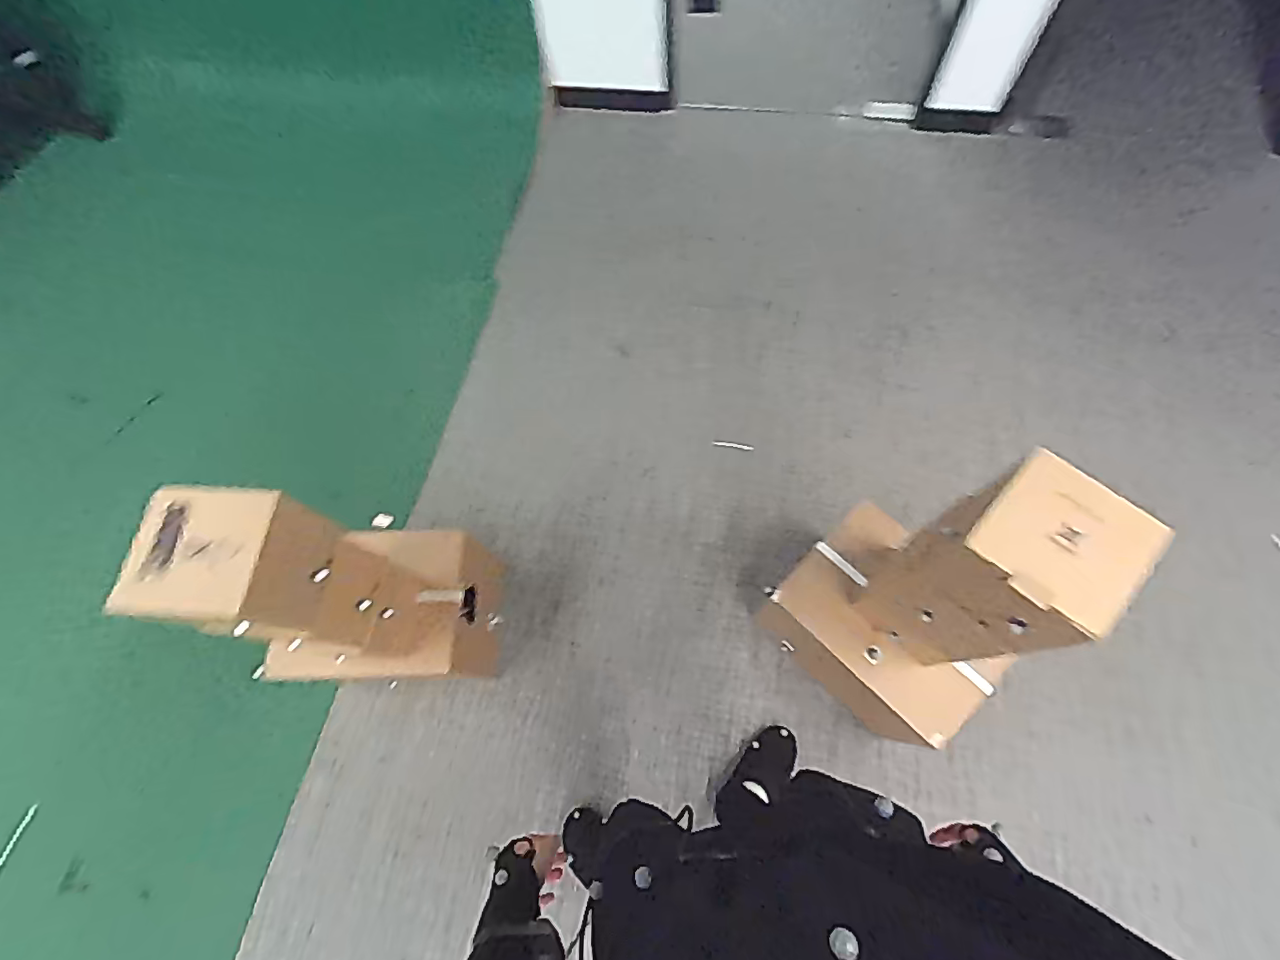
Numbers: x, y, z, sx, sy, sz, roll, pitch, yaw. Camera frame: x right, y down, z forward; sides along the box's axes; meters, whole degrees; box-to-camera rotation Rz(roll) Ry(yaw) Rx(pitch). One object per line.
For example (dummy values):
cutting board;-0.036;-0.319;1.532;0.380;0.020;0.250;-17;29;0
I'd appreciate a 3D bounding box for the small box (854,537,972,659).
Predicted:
small box;0.536;0.212;1.004;0.179;0.176;0.168;40;74;17

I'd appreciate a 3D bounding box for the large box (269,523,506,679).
large box;-0.568;0.306;1.304;0.408;0.320;0.320;-3;66;4

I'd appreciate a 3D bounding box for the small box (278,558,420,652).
small box;-0.557;0.240;1.065;0.168;0.176;0.179;3;68;4

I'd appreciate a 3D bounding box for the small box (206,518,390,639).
small box;-0.563;0.173;0.918;0.179;0.176;0.168;4;68;5

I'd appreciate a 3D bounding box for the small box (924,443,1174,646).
small box;0.505;0.093;0.701;0.168;0.176;0.179;42;75;18

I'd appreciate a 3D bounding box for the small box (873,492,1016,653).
small box;0.508;0.155;0.851;0.168;0.176;0.179;-42;70;-13
